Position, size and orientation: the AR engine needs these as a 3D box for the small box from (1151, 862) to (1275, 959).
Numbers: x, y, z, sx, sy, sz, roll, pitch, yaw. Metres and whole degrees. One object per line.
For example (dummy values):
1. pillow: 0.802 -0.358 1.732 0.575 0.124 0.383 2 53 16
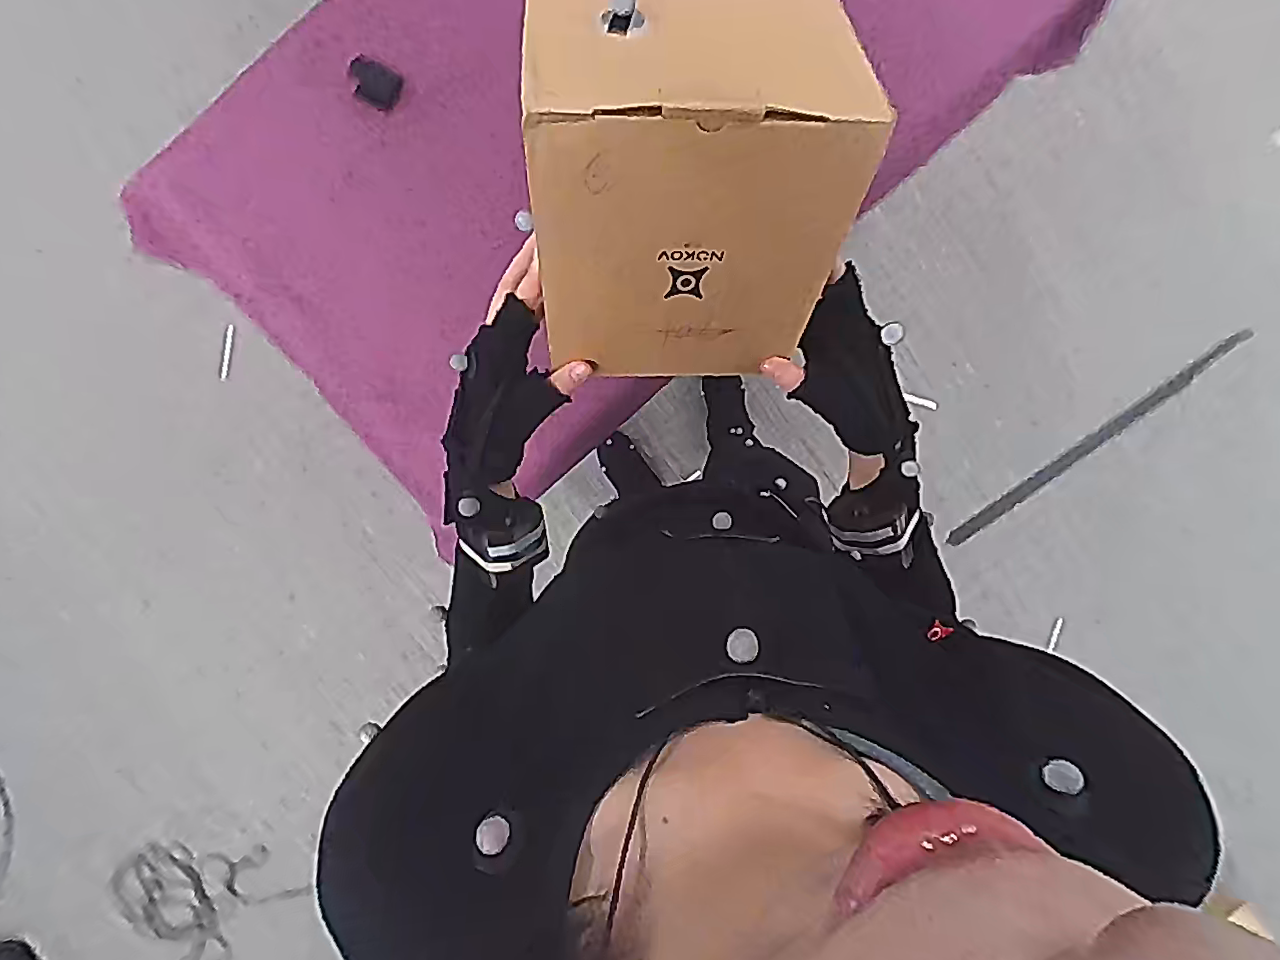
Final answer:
1. small box: 1.761 1.345 1.672 0.168 0.176 0.179 -38 96 1

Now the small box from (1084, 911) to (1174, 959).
1. small box: 1.540 1.512 1.681 0.179 0.176 0.168 -34 97 2

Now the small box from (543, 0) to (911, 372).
1. small box: 0.028 -0.189 0.339 0.168 0.179 0.176 0 61 -5
